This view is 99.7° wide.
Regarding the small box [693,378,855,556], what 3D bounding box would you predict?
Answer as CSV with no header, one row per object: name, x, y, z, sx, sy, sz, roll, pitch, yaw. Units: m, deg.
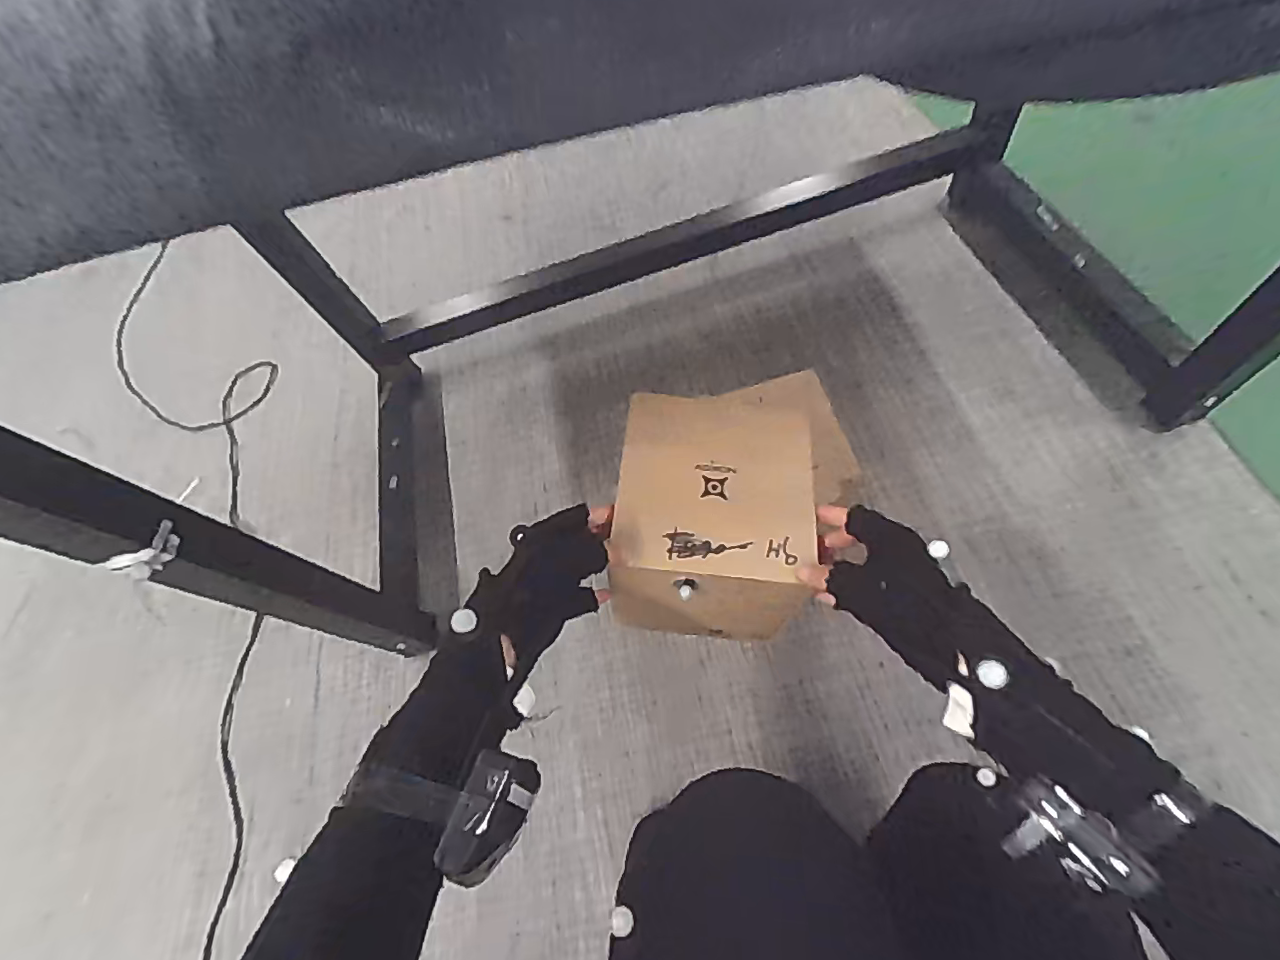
small box,0.182,-0.007,0.757,0.168,0.176,0.179,-15,59,5
